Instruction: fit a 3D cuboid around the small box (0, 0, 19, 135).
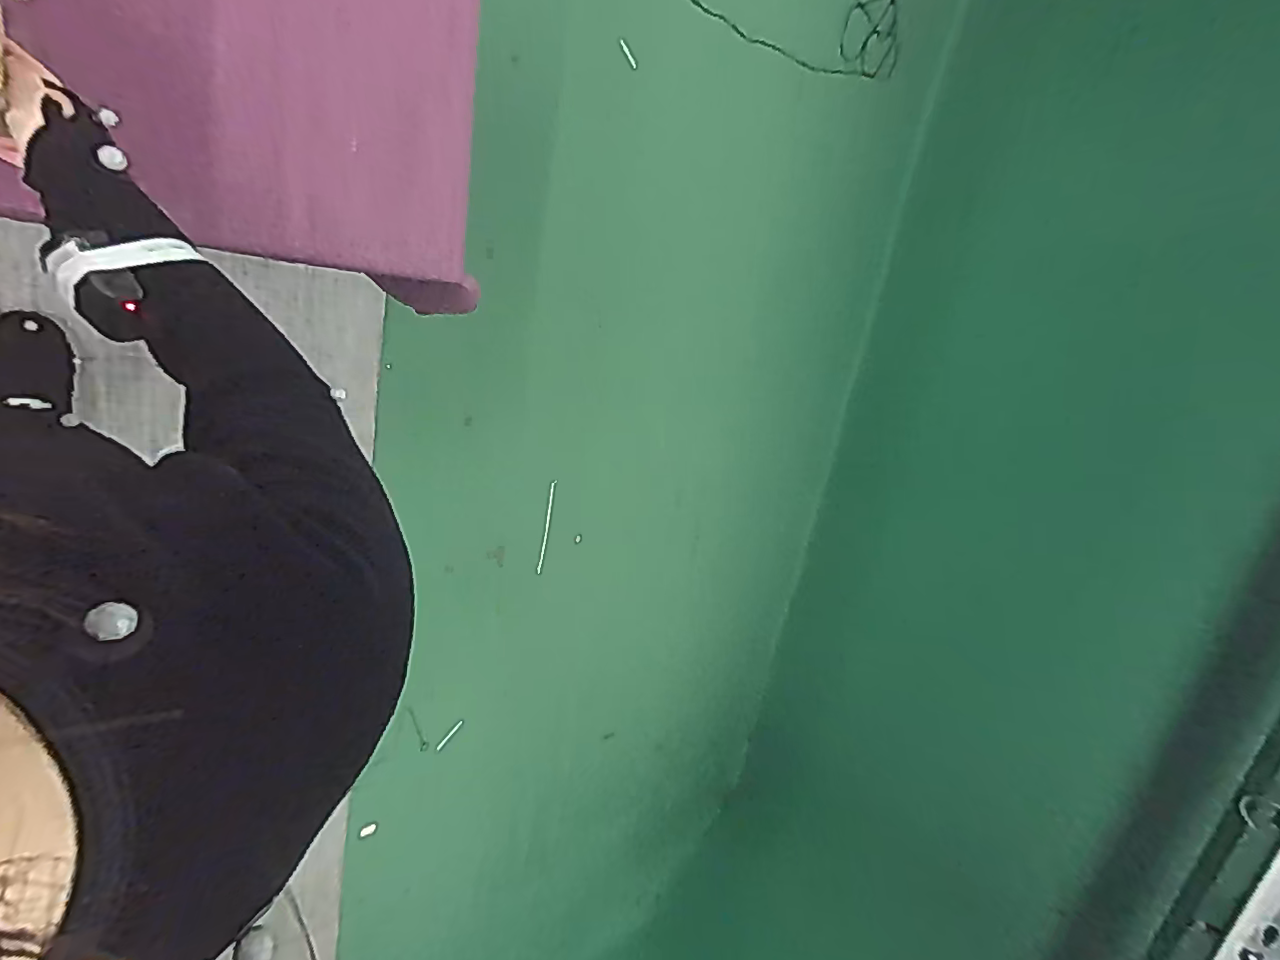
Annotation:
[{"bbox_3d":[-0.506,-0.338,0.321,0.168,0.176,0.179,-5,107,-46],"label":"small box"}]
